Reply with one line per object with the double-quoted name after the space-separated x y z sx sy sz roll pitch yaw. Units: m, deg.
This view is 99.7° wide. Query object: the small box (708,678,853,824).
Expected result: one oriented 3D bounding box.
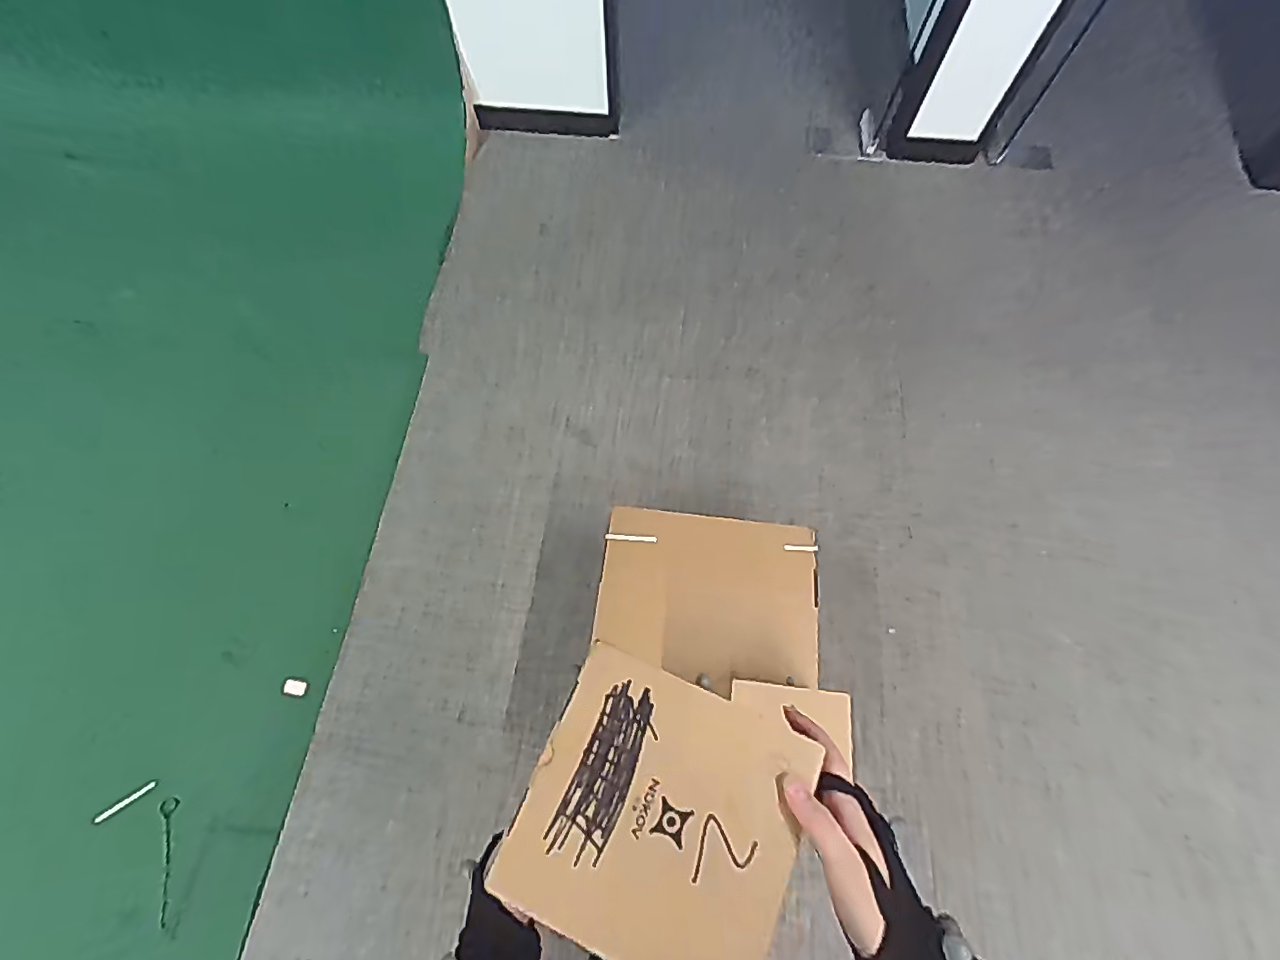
0.208 0.403 0.827 0.179 0.176 0.168 7 68 2 "small box"
